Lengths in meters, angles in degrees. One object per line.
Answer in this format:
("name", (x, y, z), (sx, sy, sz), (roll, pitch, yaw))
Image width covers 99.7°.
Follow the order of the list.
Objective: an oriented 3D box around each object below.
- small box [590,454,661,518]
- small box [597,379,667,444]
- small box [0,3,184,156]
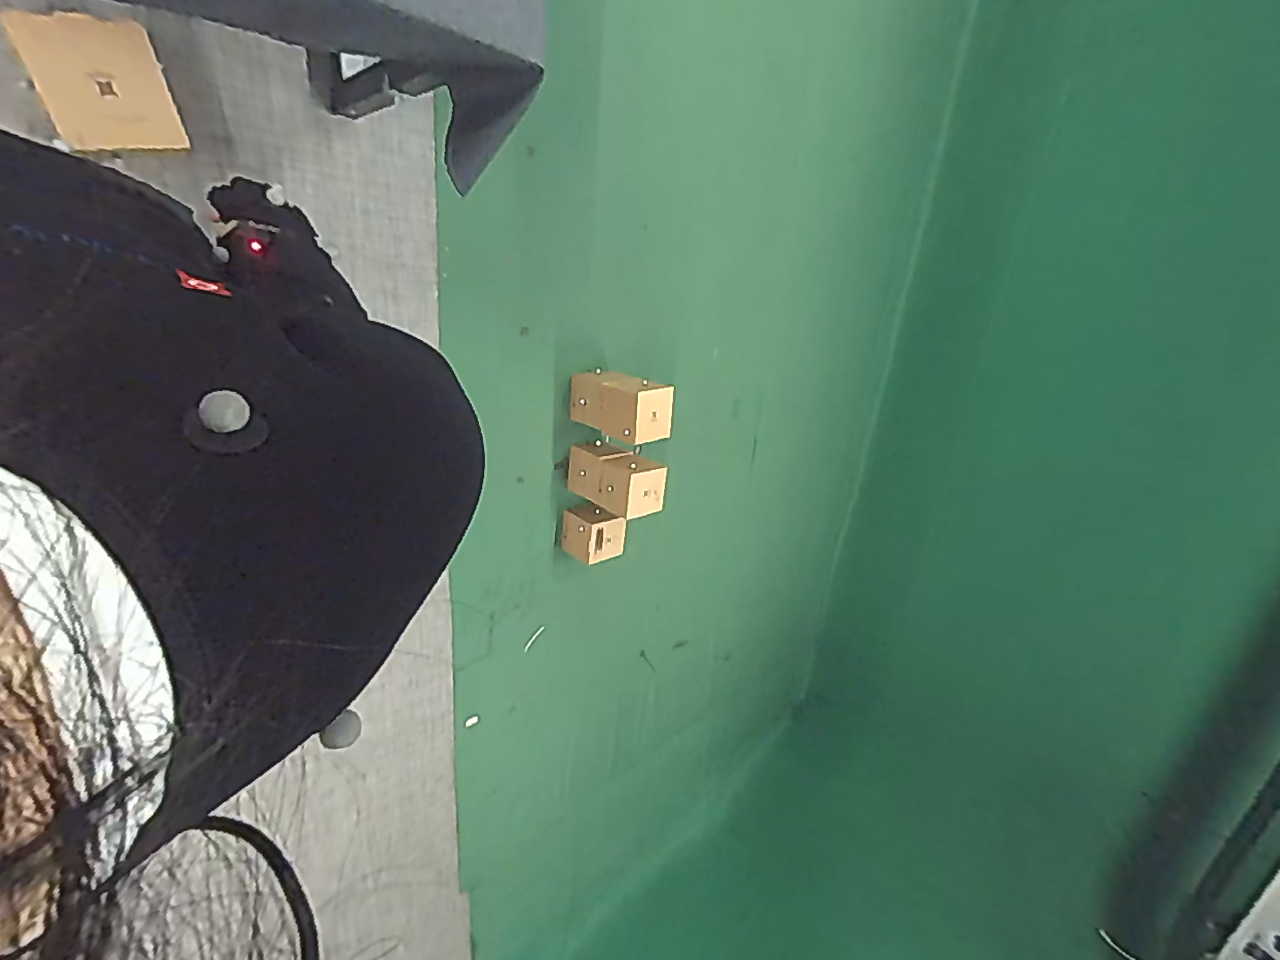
("small box", (-0.055, 0.015, 1.893), (0.179, 0.176, 0.168), (-13, 118, -44))
("small box", (-0.030, -0.234, 1.801), (0.168, 0.176, 0.179), (-17, 121, -42))
("small box", (-0.909, -0.650, 0.901), (0.168, 0.176, 0.179), (-28, 126, -36))
